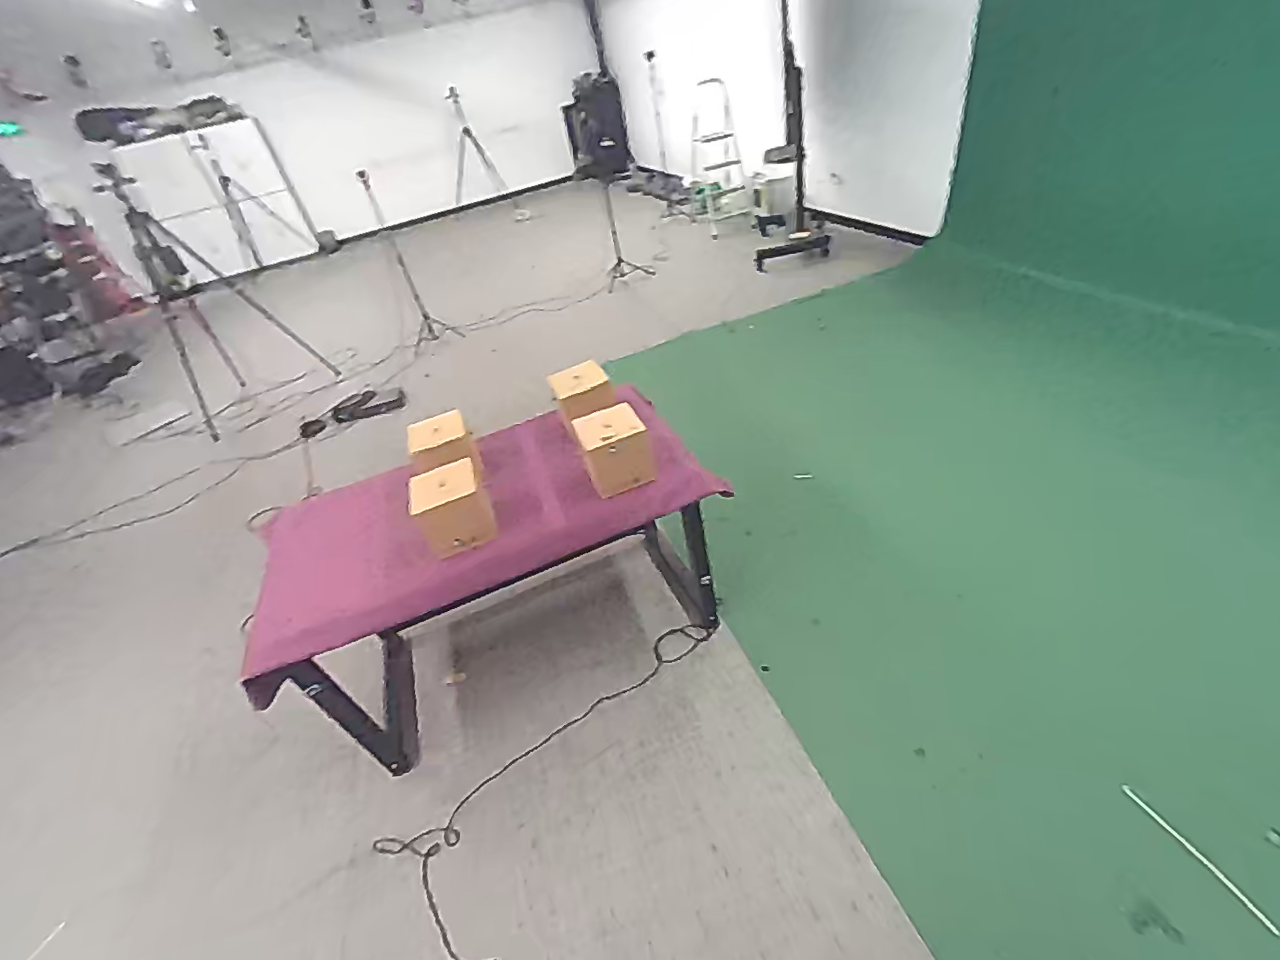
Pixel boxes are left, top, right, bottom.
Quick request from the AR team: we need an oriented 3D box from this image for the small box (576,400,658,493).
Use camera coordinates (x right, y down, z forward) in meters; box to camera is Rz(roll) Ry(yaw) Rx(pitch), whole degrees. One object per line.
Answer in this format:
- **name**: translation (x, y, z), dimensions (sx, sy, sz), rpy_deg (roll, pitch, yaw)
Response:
- **small box**: translation (-0.063, -0.094, 1.495), dimensions (0.168, 0.176, 0.179), rpy_deg (-21, 37, -8)

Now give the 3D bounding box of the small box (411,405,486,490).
- **small box**: translation (-0.586, -0.100, 1.658), dimensions (0.168, 0.176, 0.179), rpy_deg (-21, 40, -10)

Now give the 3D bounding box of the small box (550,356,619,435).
- **small box**: translation (-0.171, -0.268, 1.739), dimensions (0.168, 0.176, 0.179), rpy_deg (-24, 40, -9)
